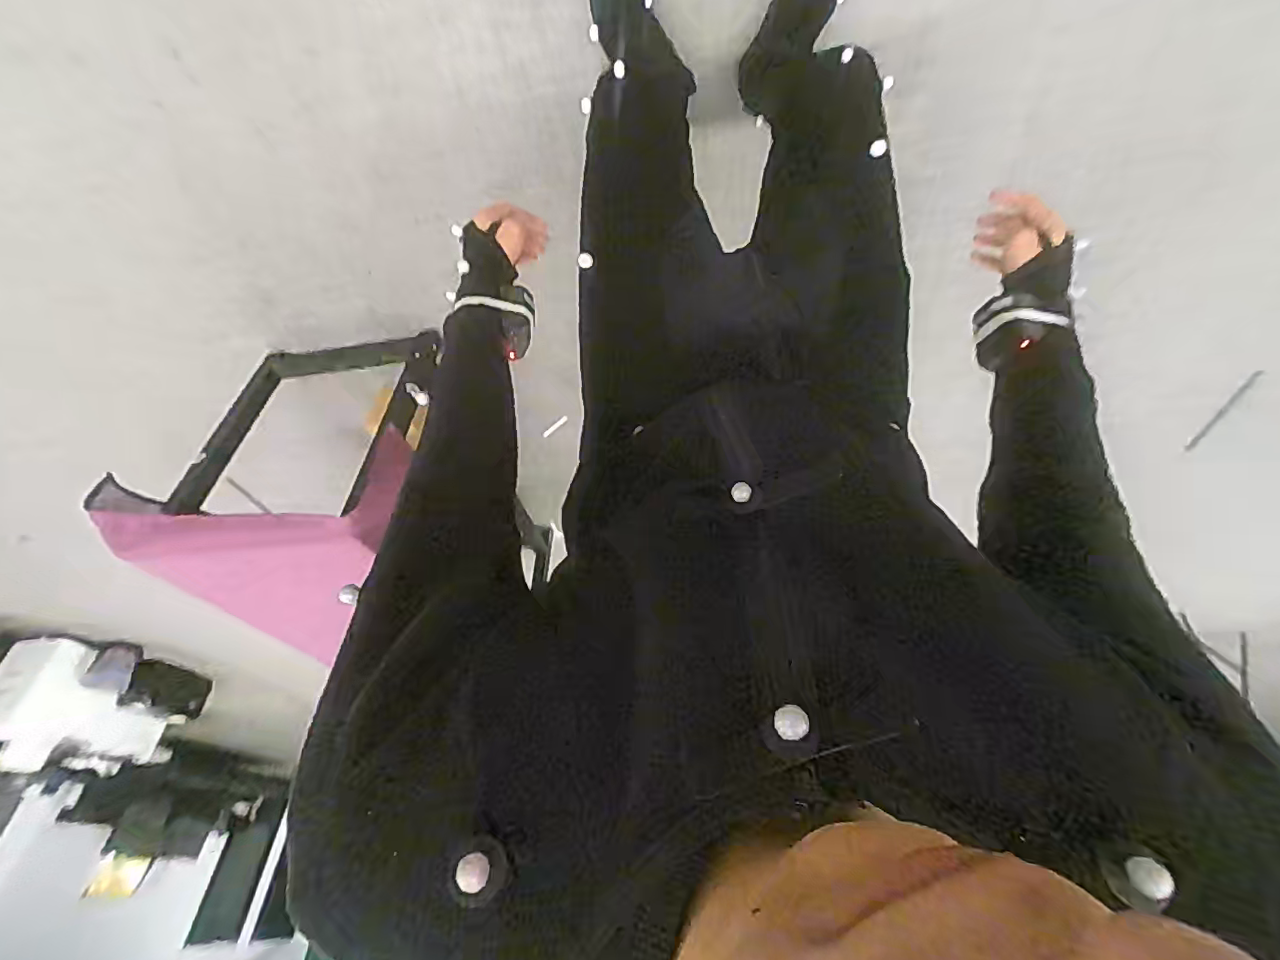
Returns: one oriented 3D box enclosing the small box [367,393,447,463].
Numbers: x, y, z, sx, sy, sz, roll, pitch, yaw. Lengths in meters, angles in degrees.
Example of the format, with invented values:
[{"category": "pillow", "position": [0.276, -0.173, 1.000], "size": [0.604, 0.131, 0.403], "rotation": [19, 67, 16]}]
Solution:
[{"category": "small box", "position": [-0.778, -0.180, 1.824], "size": [0.168, 0.176, 0.179], "rotation": [-4, 142, 8]}]
